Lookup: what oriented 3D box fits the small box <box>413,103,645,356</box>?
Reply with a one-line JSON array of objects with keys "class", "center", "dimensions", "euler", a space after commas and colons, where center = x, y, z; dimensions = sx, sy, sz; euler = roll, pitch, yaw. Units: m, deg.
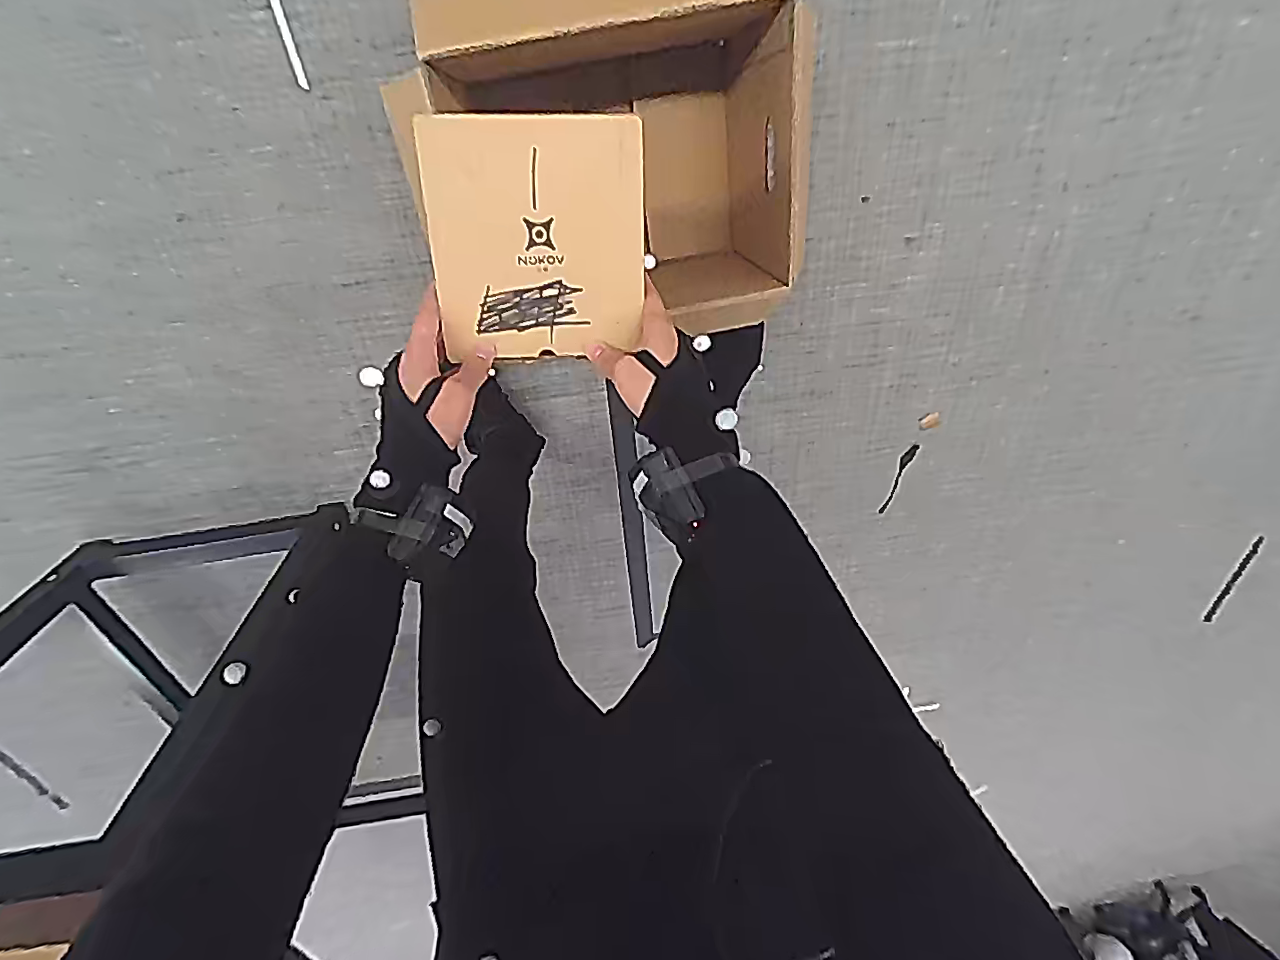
[{"class": "small box", "center": [-0.083, -0.215, 0.487], "dimensions": [0.168, 0.176, 0.179], "euler": [-3, 112, -4]}]

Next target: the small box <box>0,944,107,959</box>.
[{"class": "small box", "center": [-0.733, 0.658, 0.605], "dimensions": [0.179, 0.176, 0.168], "euler": [-4, 124, -4]}]
